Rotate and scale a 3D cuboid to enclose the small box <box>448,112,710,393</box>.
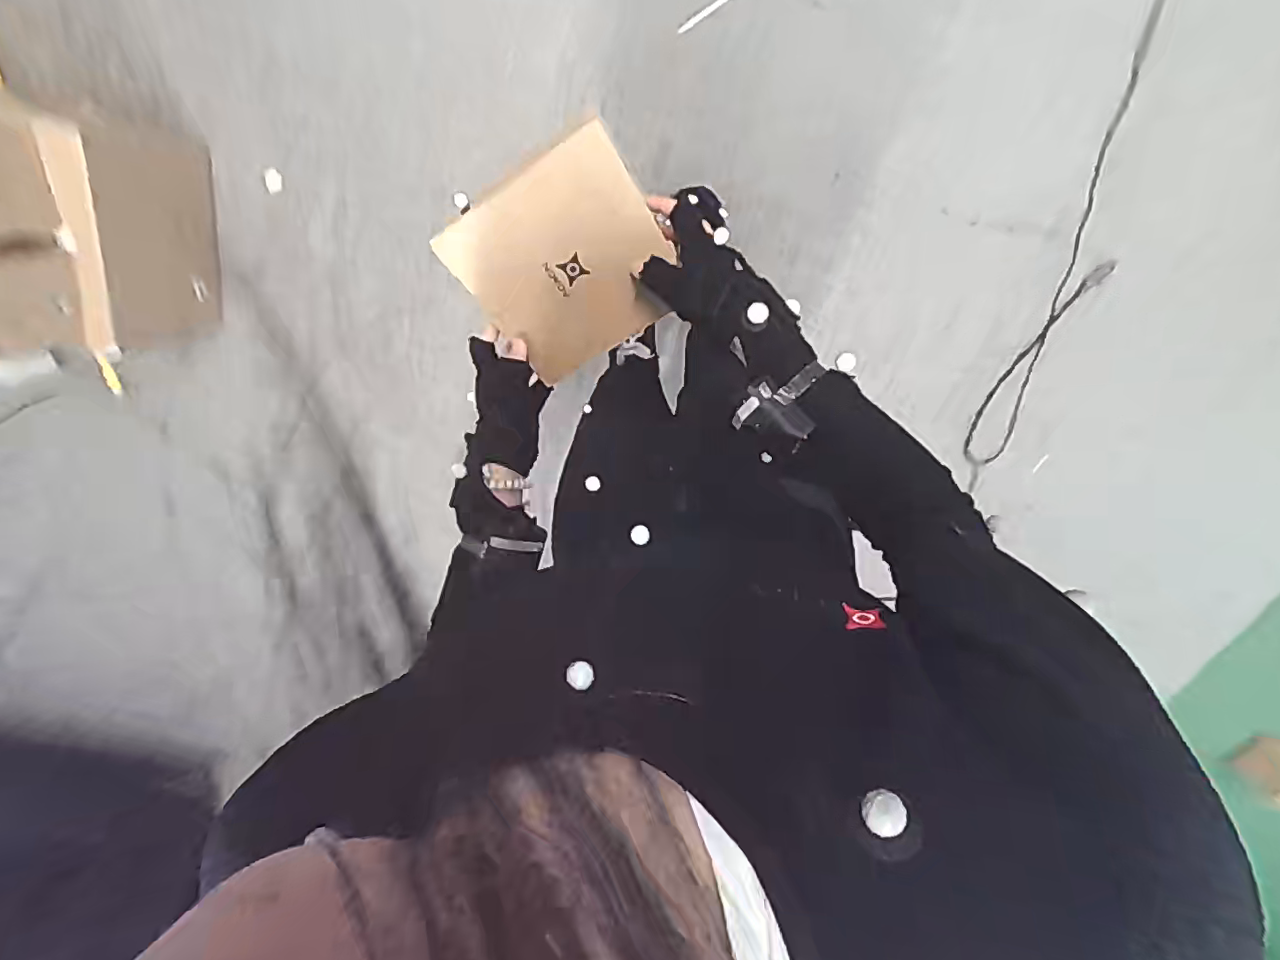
[{"bbox_3d":[-0.055,-0.226,0.532,0.179,0.176,0.168,-26,127,16],"label":"small box"}]

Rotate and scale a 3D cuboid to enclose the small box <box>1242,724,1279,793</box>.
[{"bbox_3d":[2.367,1.021,1.956,0.168,0.176,0.179,15,117,-8],"label":"small box"}]
